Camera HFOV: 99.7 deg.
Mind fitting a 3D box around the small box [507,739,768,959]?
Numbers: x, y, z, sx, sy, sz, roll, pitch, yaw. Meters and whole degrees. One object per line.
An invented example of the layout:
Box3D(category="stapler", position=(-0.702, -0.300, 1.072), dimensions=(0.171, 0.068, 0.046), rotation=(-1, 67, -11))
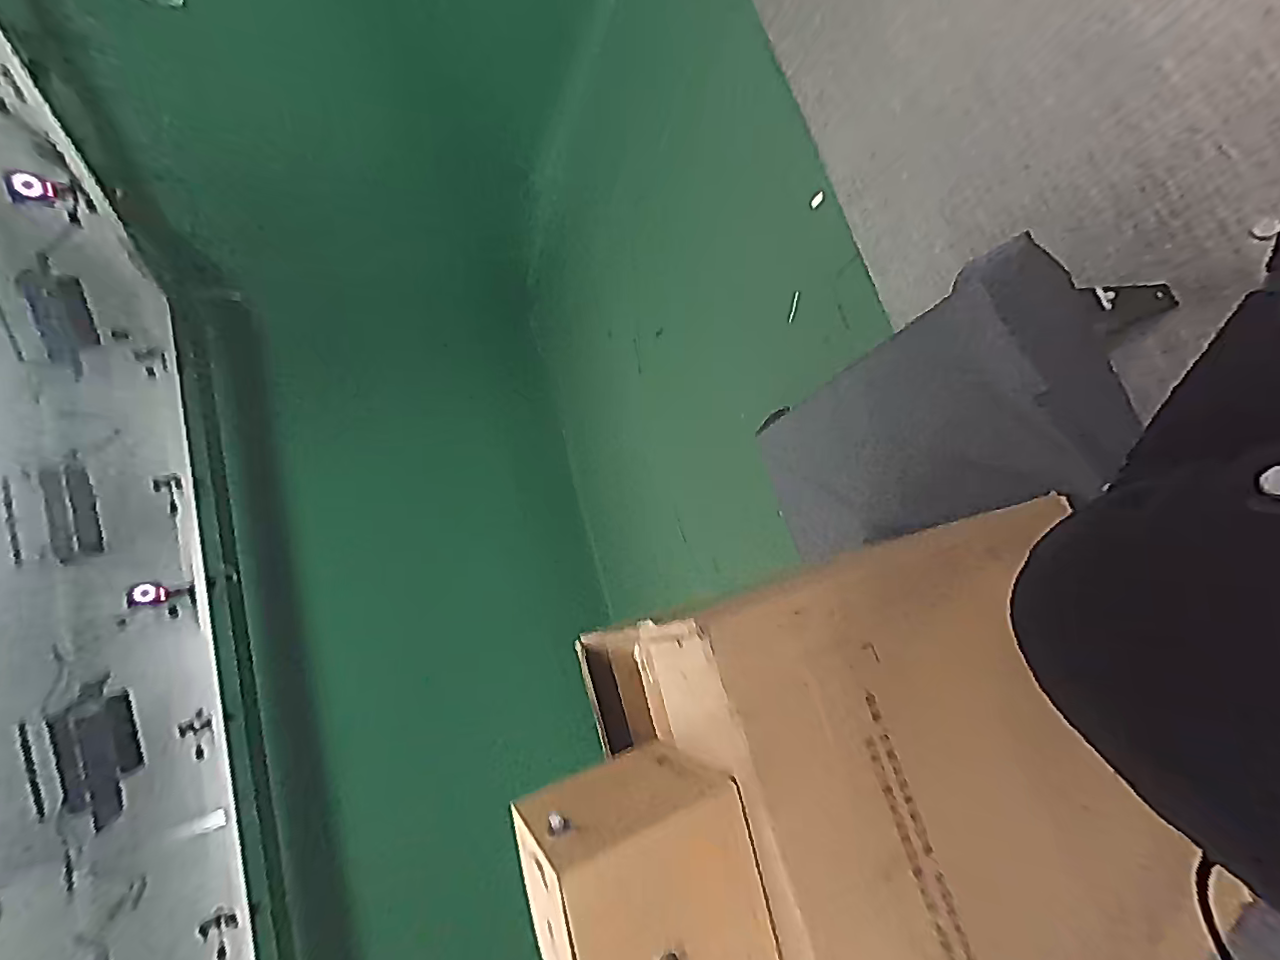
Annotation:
Box3D(category="small box", position=(-0.006, 0.372, 0.496), dimensions=(0.168, 0.176, 0.179), rotation=(-26, 77, 61))
